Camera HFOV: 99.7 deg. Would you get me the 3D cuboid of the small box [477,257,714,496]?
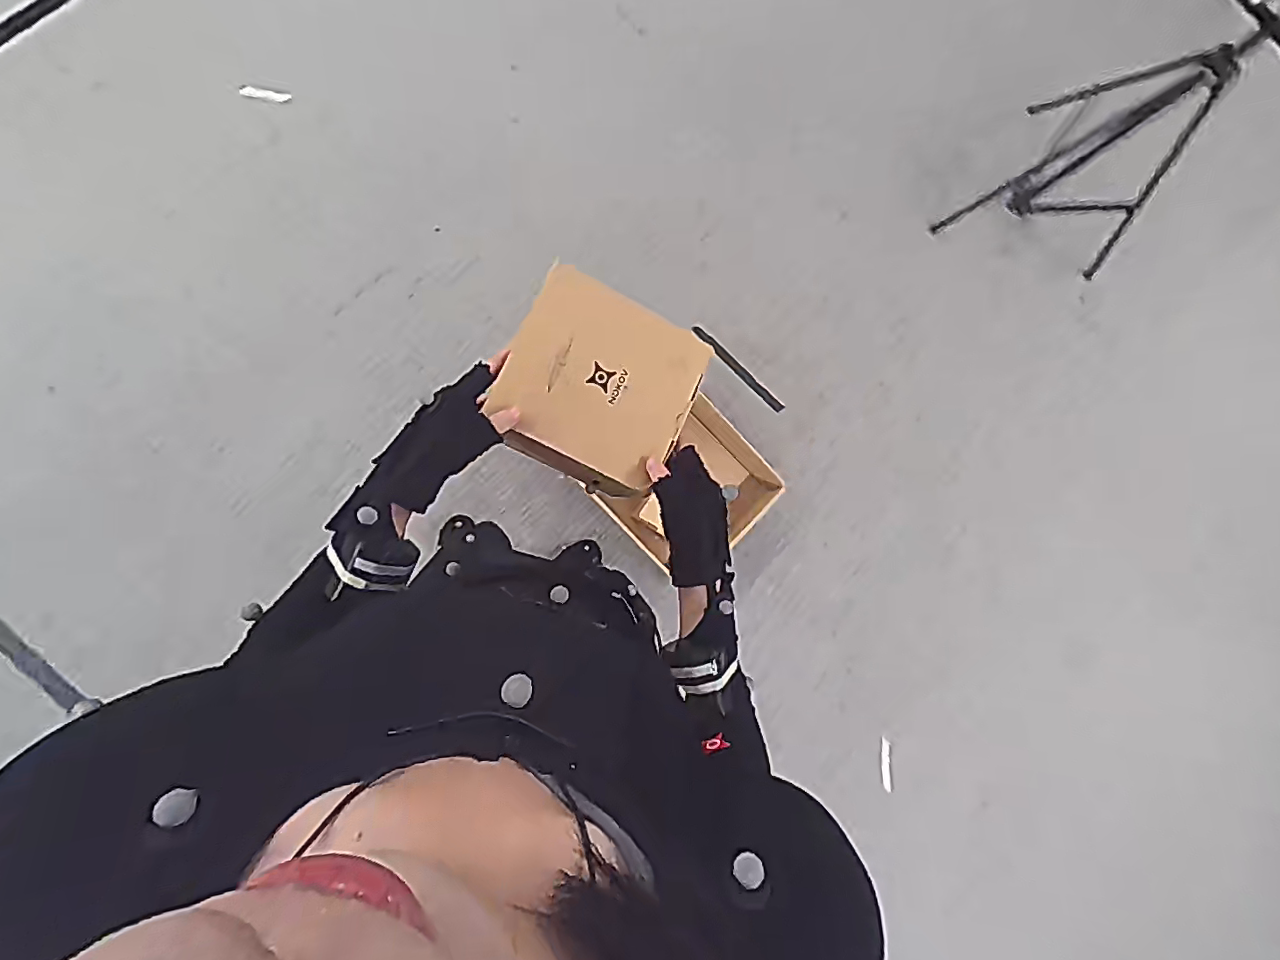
[{"bbox_3d":[-0.055,-0.092,0.570,0.179,0.176,0.168,25,81,-13],"label":"small box"}]
